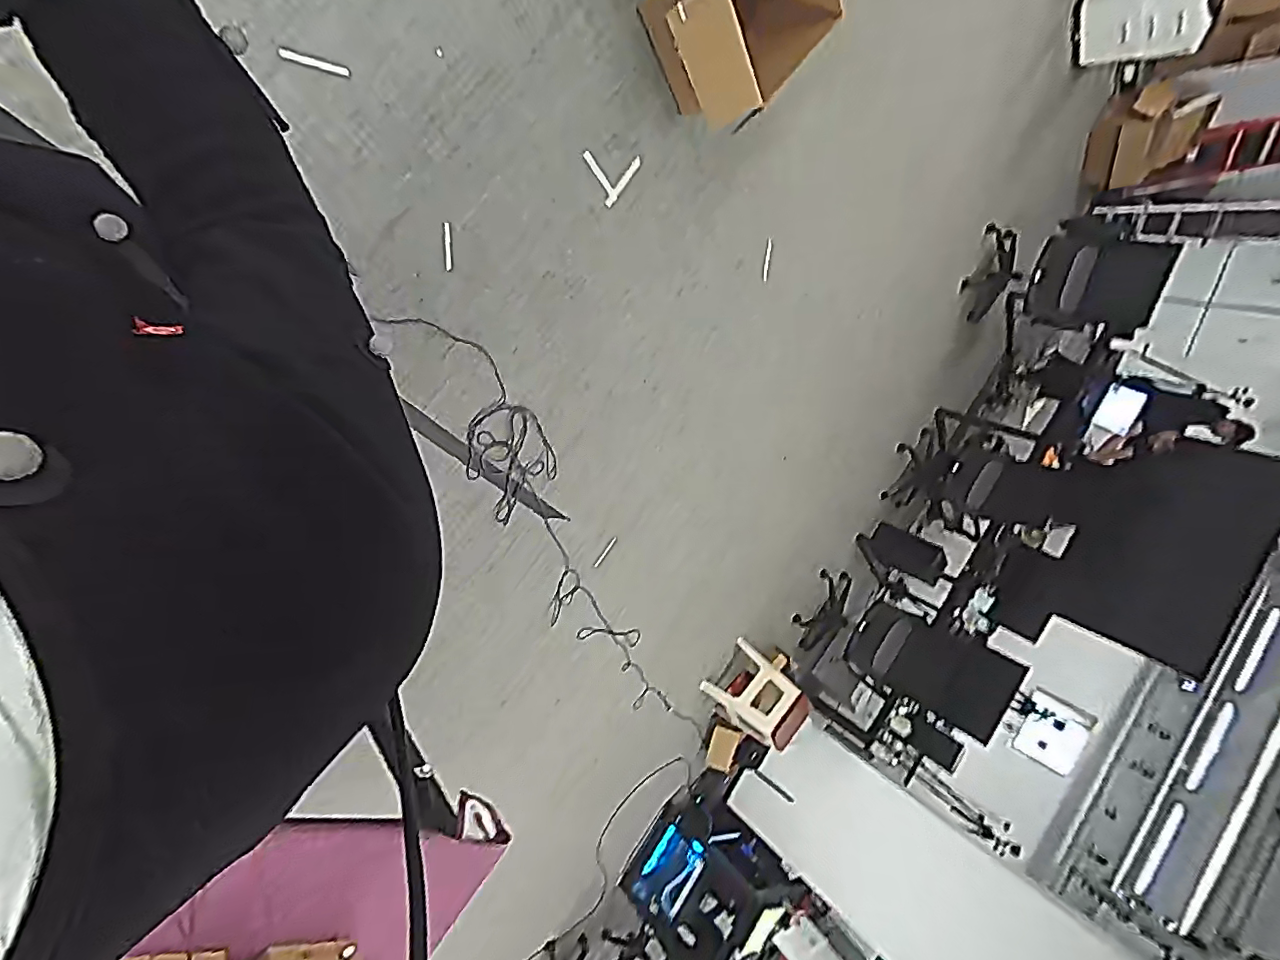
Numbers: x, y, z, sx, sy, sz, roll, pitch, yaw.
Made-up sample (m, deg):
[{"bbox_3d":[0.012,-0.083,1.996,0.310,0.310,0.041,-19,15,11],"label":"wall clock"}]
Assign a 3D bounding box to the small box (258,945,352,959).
[{"bbox_3d":[-0.526,0.832,0.795,0.179,0.176,0.168,-51,138,-12],"label":"small box"}]
